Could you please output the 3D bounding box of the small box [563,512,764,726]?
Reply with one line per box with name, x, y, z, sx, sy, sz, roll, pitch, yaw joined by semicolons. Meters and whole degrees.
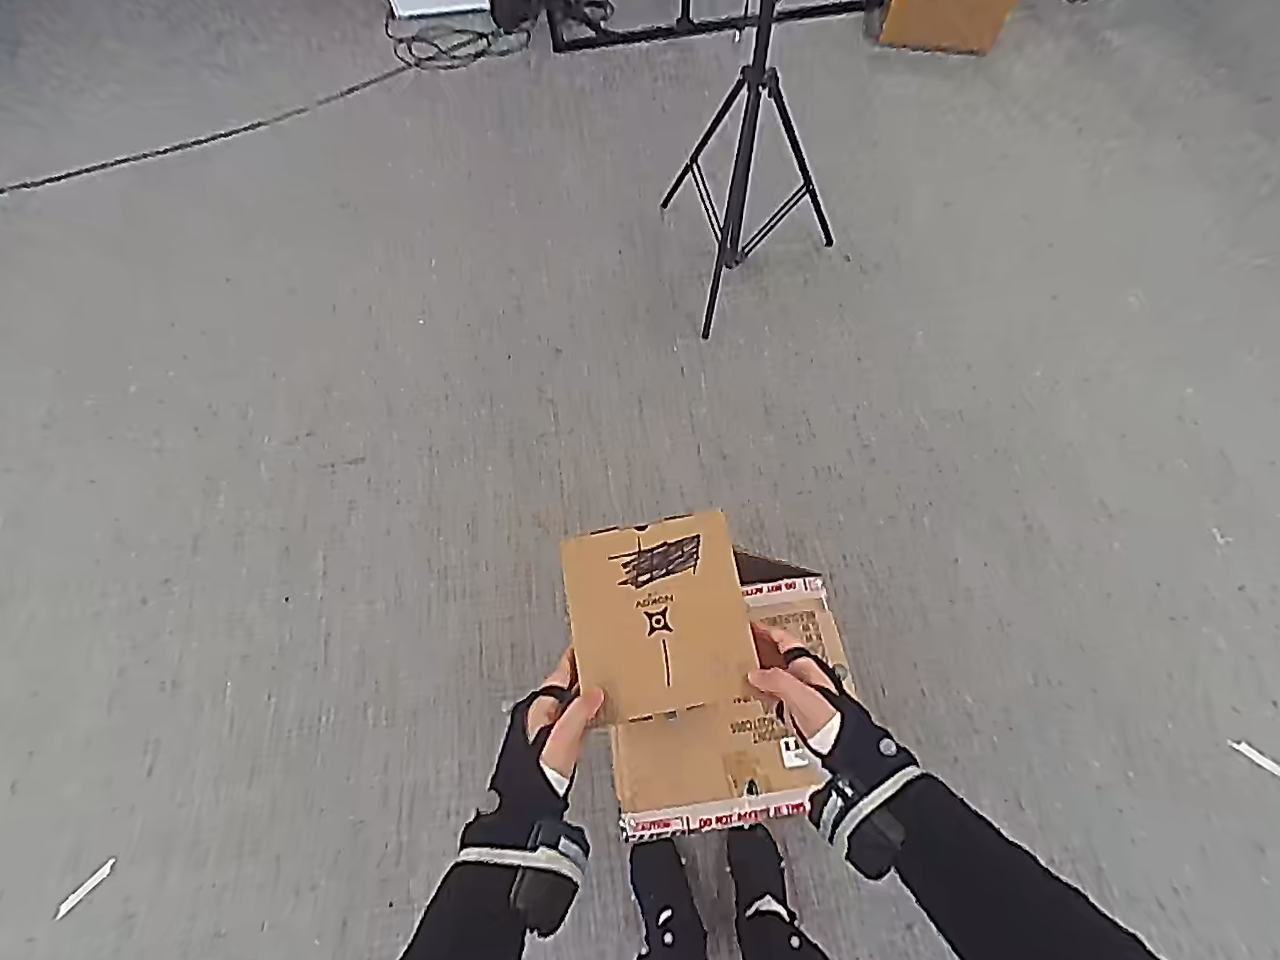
small box;0.020;0.151;0.584;0.168;0.176;0.179;-11;72;-1
